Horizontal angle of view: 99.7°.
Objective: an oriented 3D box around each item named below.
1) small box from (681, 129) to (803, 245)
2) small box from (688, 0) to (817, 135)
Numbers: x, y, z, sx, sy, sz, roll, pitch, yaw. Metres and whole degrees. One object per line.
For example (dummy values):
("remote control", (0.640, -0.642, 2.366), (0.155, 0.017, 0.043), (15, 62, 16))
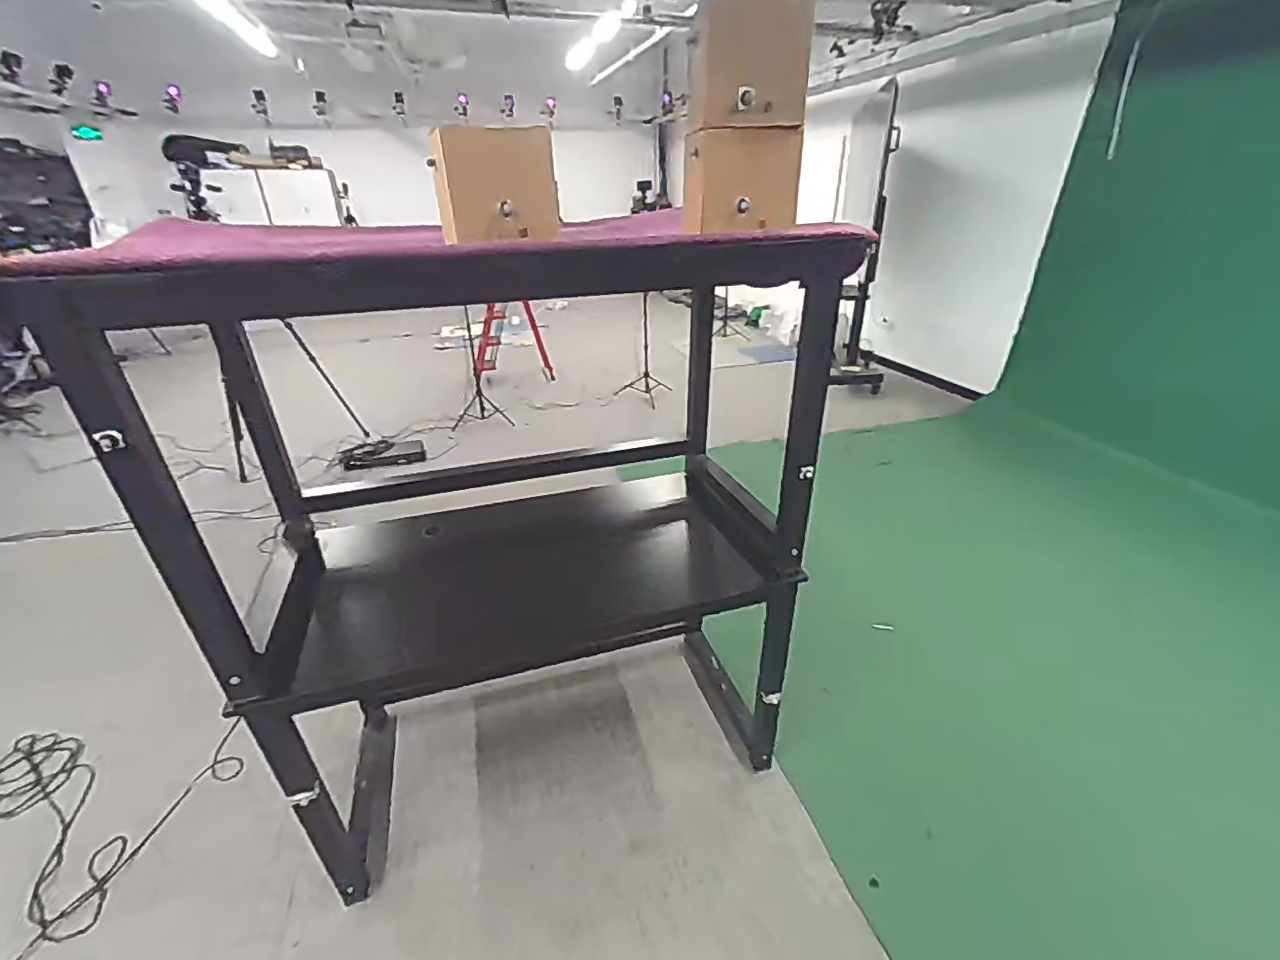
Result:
("small box", (0.169, -0.516, 0.959), (0.168, 0.176, 0.179), (-5, 30, -6))
("small box", (0.169, -0.655, 0.875), (0.168, 0.176, 0.179), (-4, 31, -2))
